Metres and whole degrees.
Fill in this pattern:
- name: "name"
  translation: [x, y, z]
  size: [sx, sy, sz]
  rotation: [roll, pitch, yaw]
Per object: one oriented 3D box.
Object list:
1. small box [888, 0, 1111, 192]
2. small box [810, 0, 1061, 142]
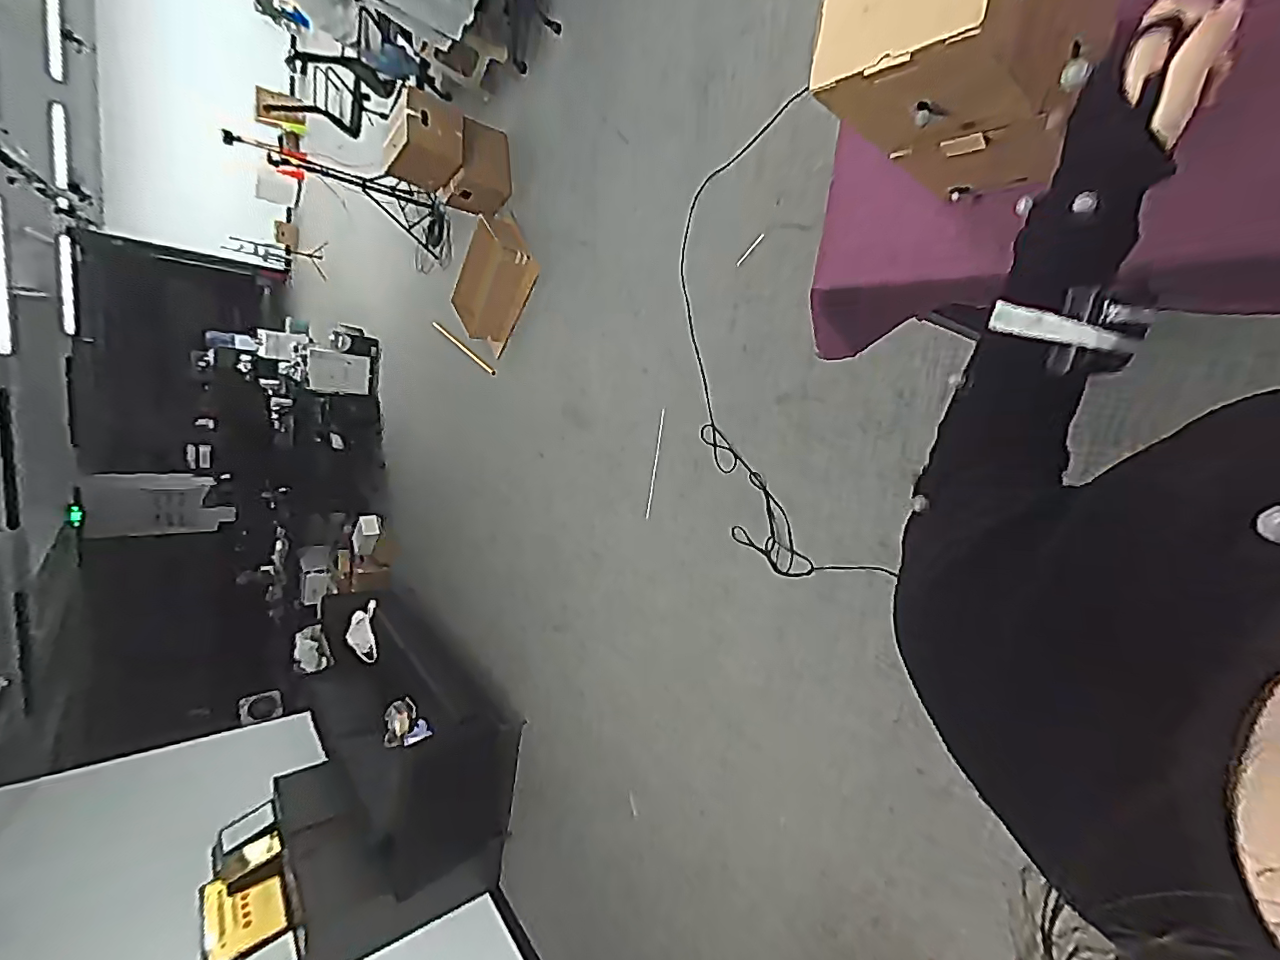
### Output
- name: "small box"
  translation: [0.427, -0.467, 0.644]
  size: [0.168, 0.176, 0.179]
  rotation: [16, 102, 49]
- name: "small box"
  translation: [0.299, -0.467, 0.540]
  size: [0.168, 0.176, 0.179]
  rotation: [18, 105, 47]
